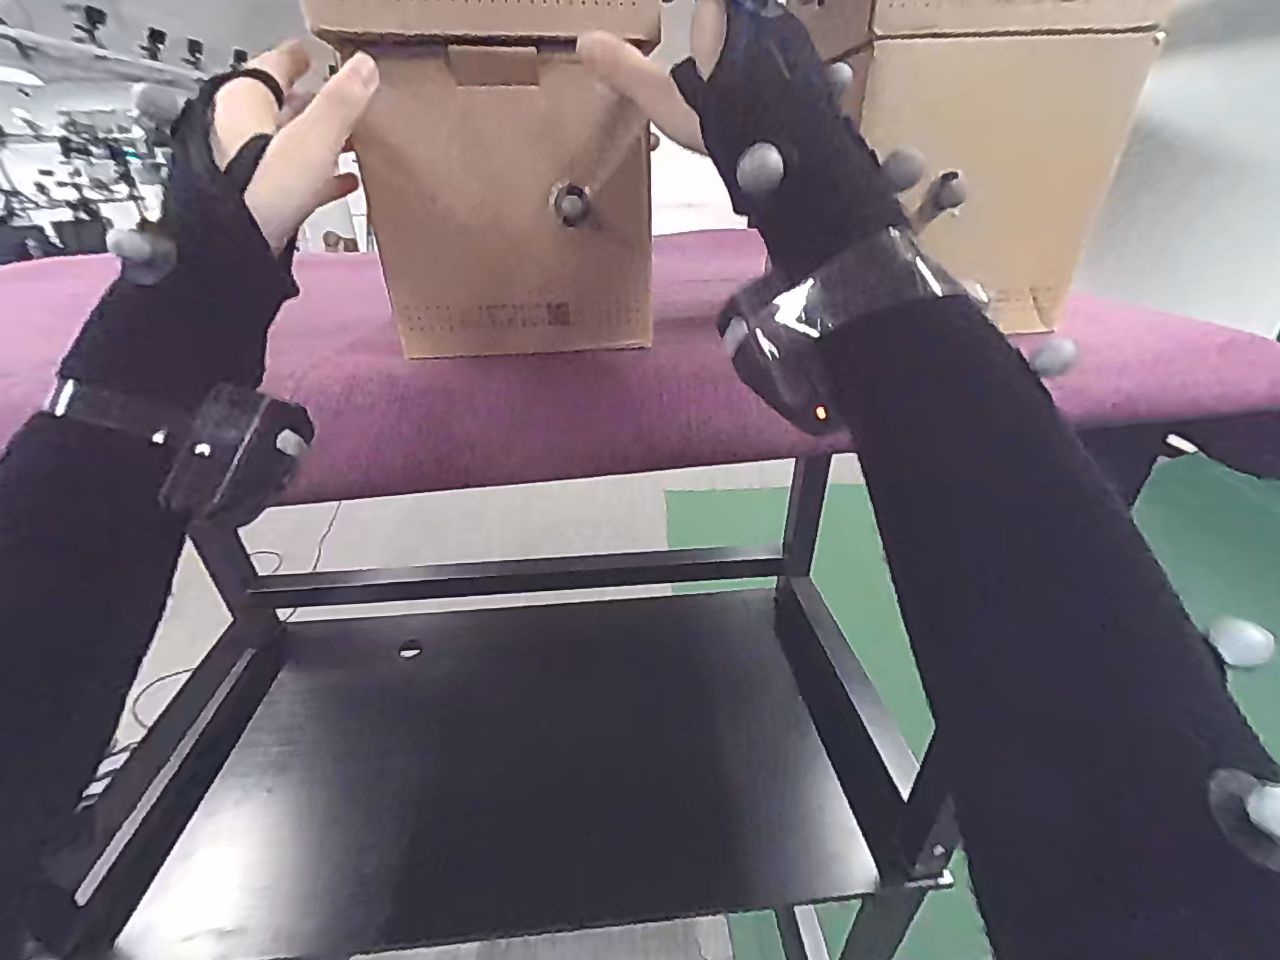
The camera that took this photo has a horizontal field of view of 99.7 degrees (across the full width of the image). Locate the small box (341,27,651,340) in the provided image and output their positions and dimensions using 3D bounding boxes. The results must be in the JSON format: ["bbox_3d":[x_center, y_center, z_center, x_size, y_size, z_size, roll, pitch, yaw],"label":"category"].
[{"bbox_3d":[-0.079,-0.203,0.396,0.168,0.176,0.179,-2,28,-3],"label":"small box"}]

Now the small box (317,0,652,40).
[{"bbox_3d":[-0.085,-0.339,0.304,0.179,0.176,0.168,-5,29,-7],"label":"small box"}]

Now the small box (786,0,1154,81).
[{"bbox_3d":[0.196,-0.356,0.323,0.168,0.176,0.179,-3,30,-2],"label":"small box"}]
